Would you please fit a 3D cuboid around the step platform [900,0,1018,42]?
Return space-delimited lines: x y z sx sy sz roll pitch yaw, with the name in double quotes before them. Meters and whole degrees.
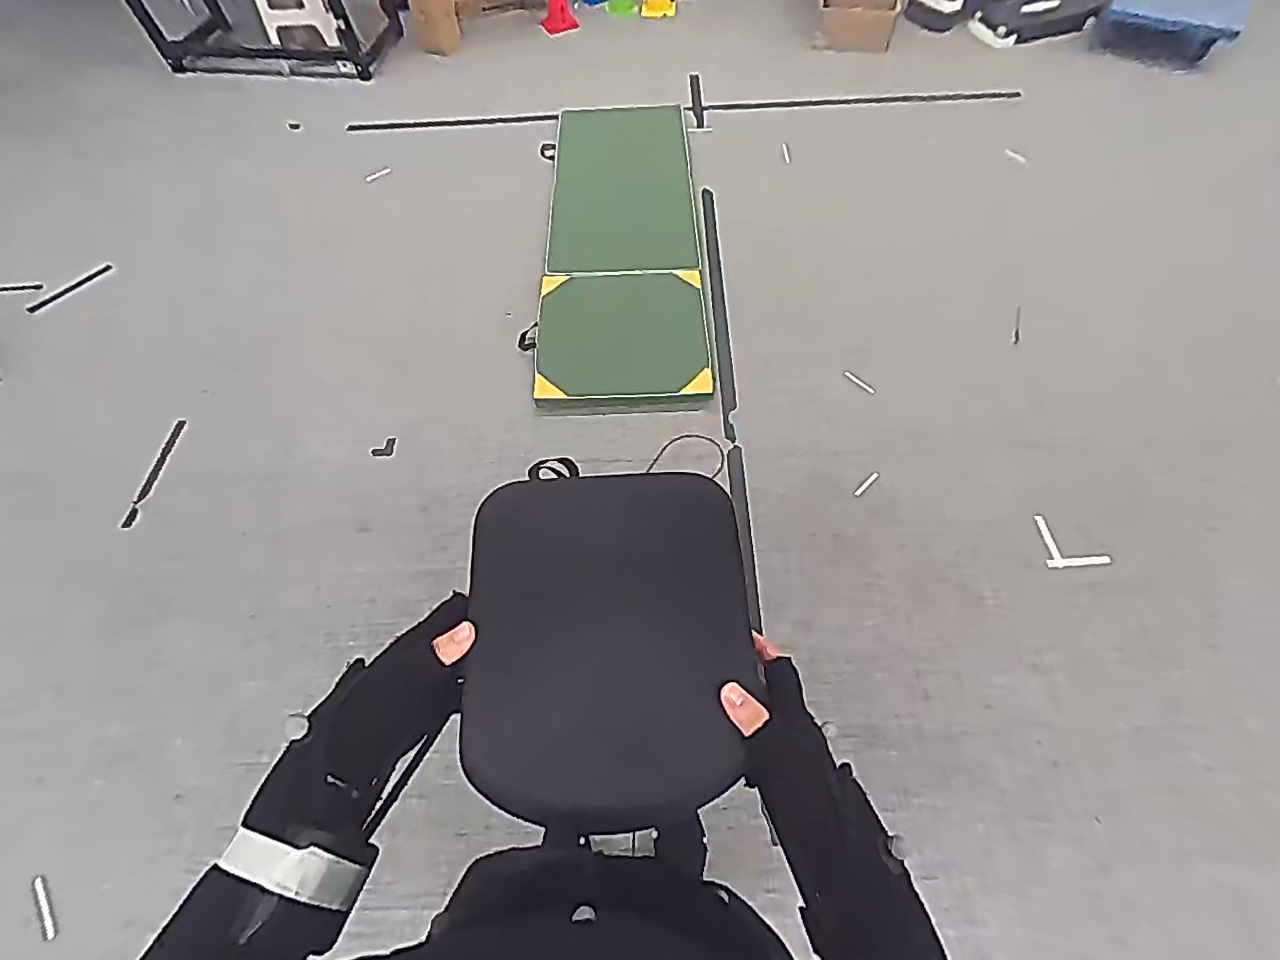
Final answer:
"step platform" 1.843 -2.736 3.075 0.684 0.204 0.286 -28 63 -13
